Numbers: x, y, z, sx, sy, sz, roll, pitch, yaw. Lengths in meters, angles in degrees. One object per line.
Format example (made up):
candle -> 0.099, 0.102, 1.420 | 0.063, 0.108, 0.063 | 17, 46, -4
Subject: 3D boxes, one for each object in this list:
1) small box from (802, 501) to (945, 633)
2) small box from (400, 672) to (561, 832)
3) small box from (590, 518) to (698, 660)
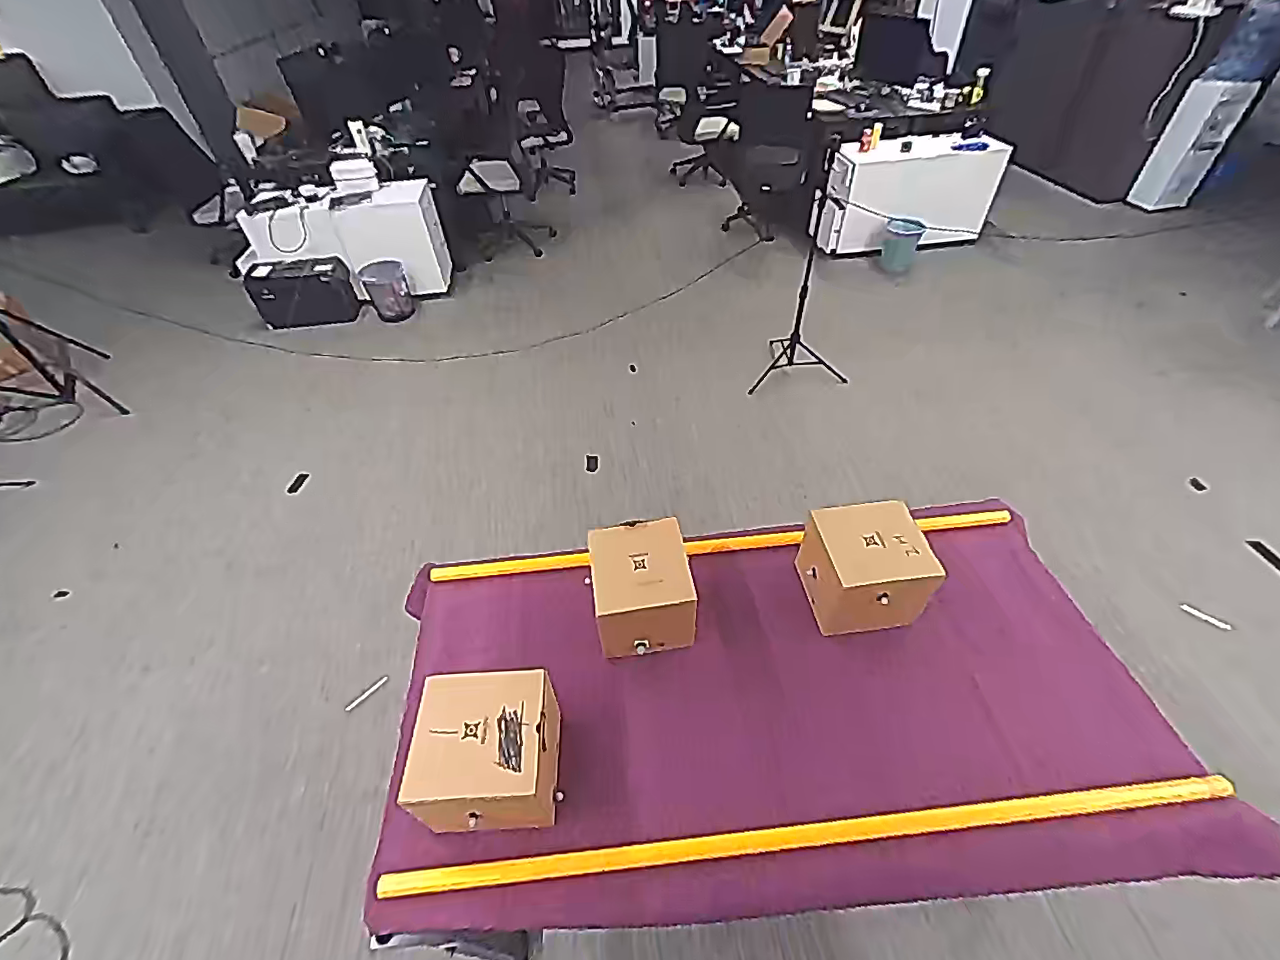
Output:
small box -> 0.404, 0.161, 0.980 | 0.179, 0.176, 0.168 | -6, 47, -3
small box -> -0.213, 0.395, 0.783 | 0.179, 0.176, 0.168 | -3, 46, 0
small box -> 0.004, 0.196, 0.970 | 0.168, 0.176, 0.179 | -8, 47, -4
